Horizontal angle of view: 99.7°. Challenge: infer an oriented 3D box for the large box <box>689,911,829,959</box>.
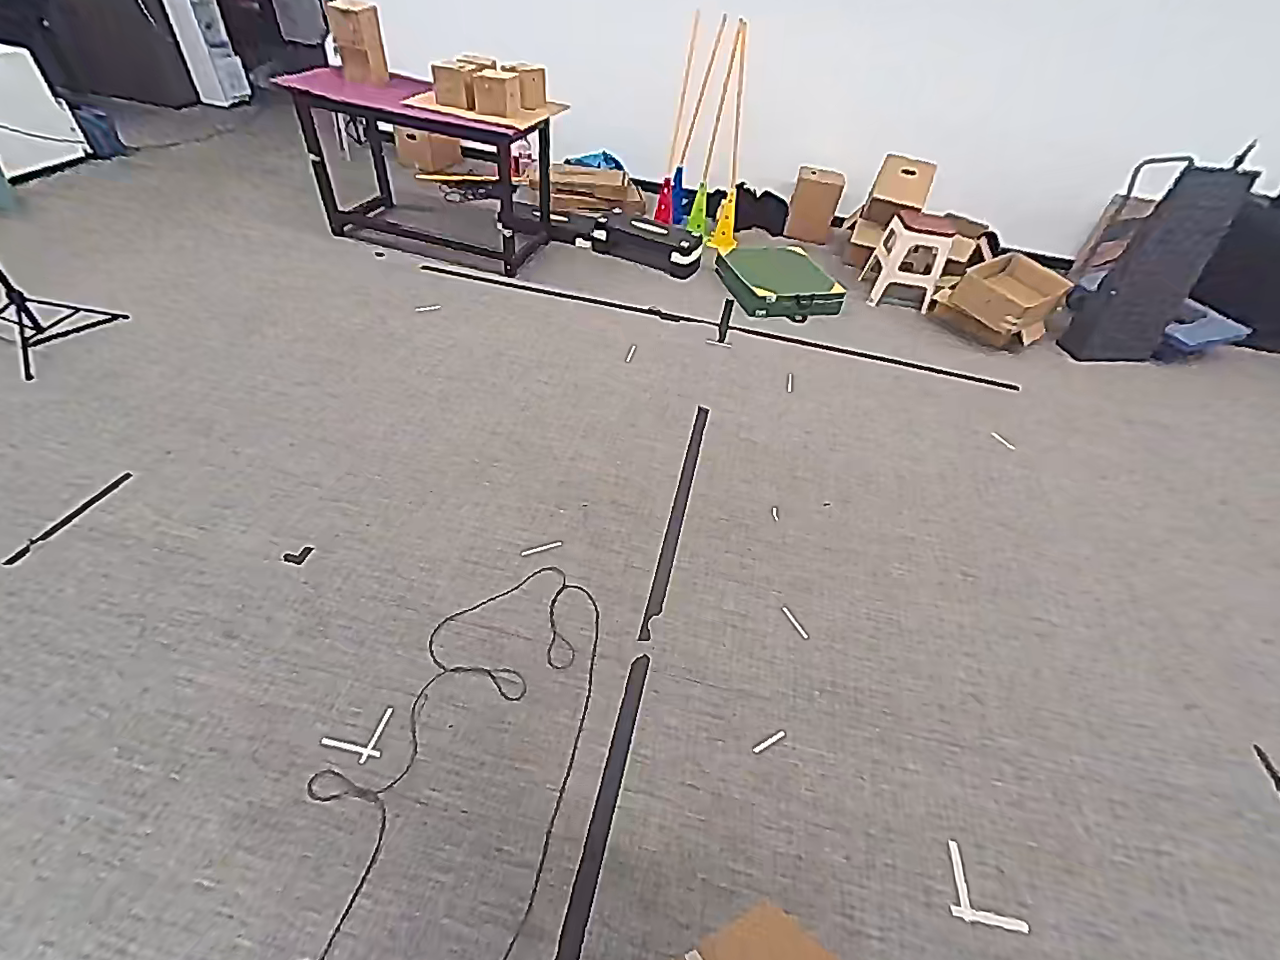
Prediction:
[{"bbox_3d":[0.184,0.828,0.628,0.320,0.408,0.320,-17,80,-20],"label":"large box"}]
